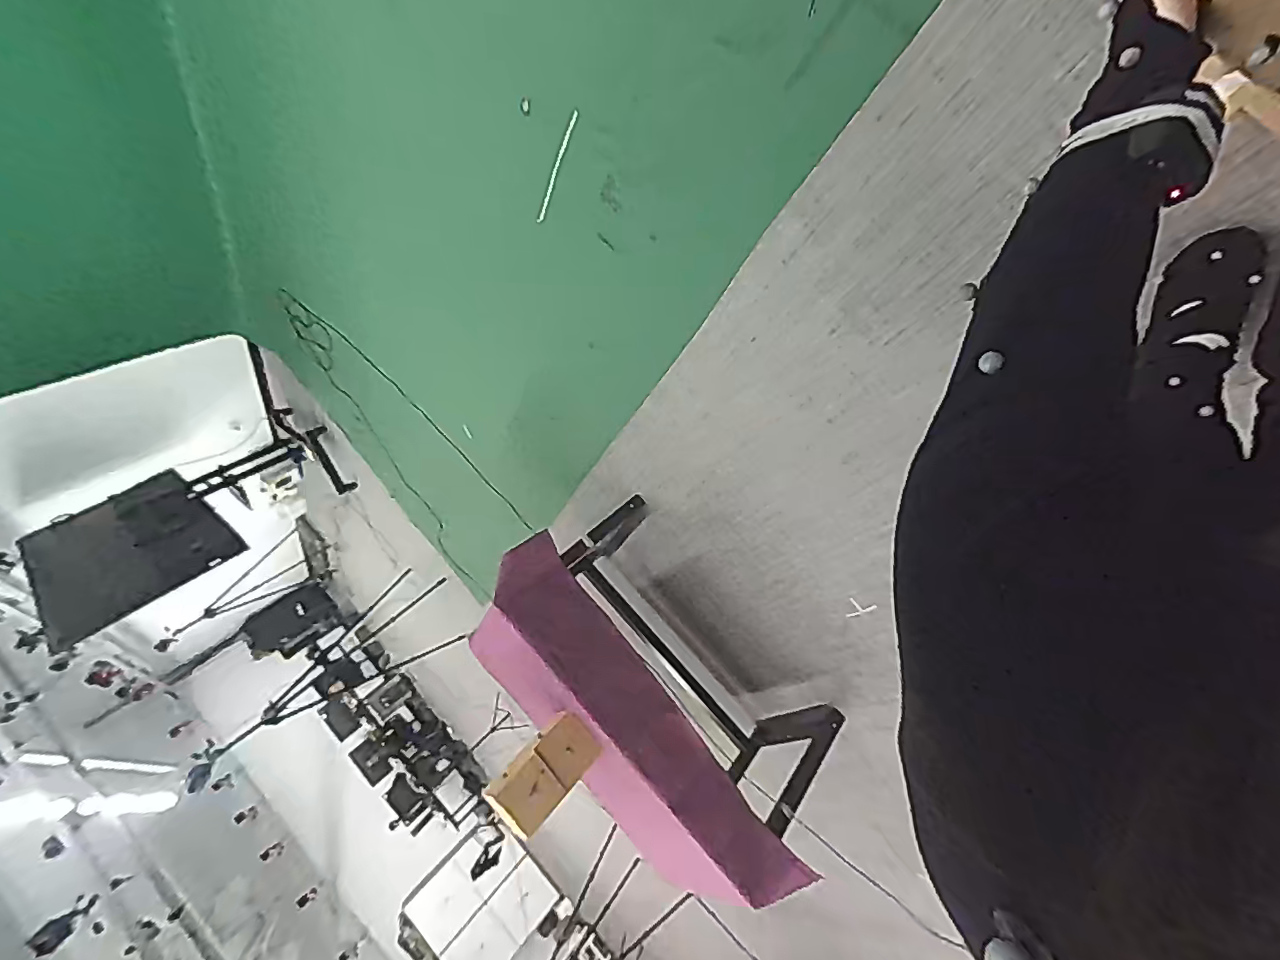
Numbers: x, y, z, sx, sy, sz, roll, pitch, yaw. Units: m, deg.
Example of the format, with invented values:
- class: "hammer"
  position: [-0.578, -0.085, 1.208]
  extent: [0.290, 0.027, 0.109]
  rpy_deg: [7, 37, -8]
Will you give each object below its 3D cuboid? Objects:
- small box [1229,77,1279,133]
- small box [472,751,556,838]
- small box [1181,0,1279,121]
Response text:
- class: "small box"
  position: [0.637, -0.425, 0.469]
  extent: [0.168, 0.176, 0.179]
  rpy_deg: [50, 141, 2]
- class: "small box"
  position: [-0.387, 0.967, 1.676]
  extent: [0.168, 0.176, 0.179]
  rpy_deg: [51, 142, 2]
- class: "small box"
  position: [0.483, -0.339, 0.324]
  extent: [0.168, 0.176, 0.179]
  rpy_deg: [54, 129, 13]
